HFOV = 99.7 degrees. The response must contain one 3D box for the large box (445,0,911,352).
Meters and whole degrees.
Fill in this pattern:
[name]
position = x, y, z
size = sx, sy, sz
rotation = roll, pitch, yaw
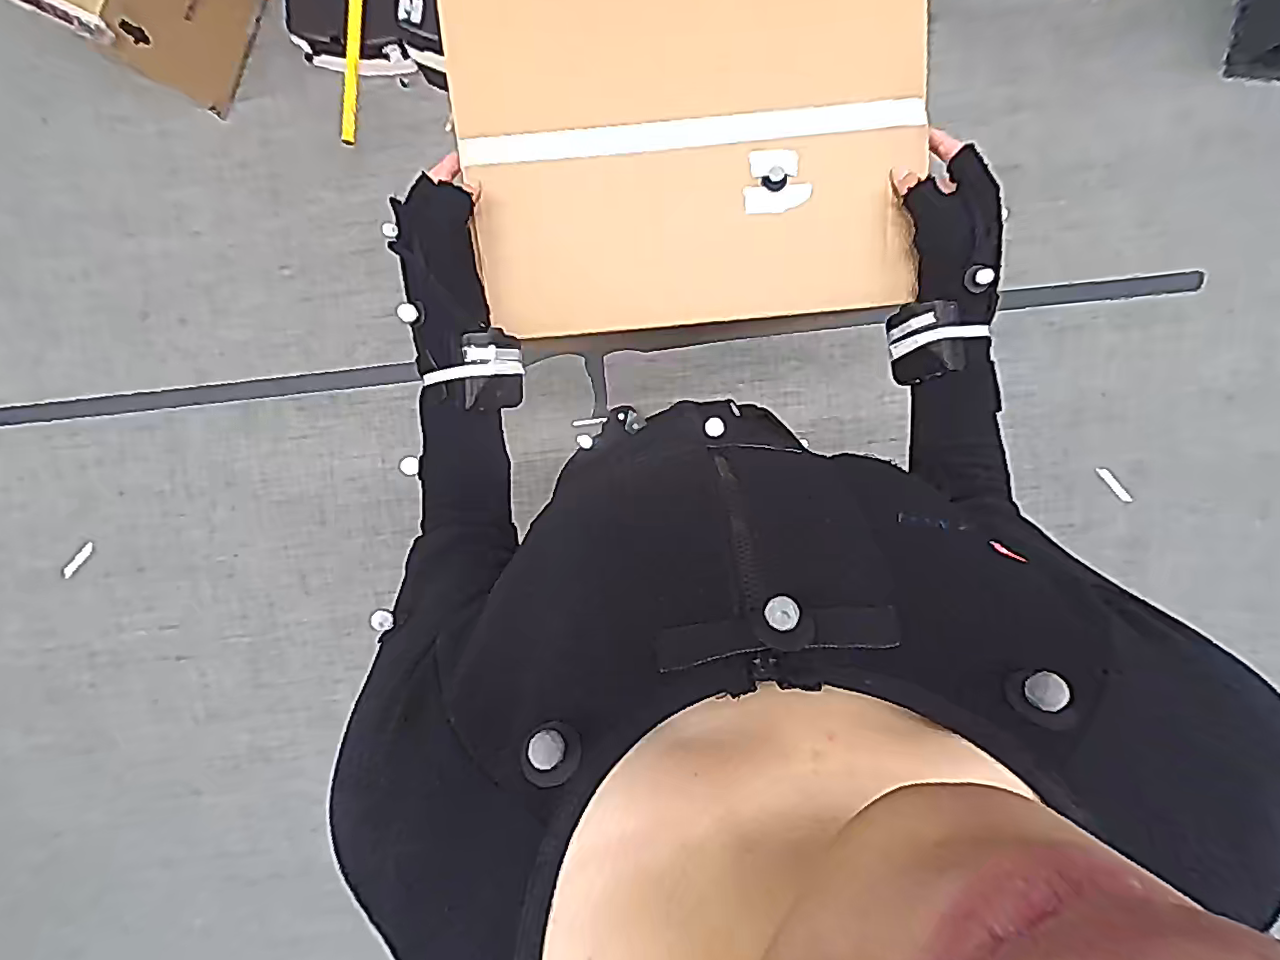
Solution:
[large box]
position = 0.037, -0.332, 0.627
size = 0.408, 0.320, 0.320
rotation = -5, 101, -2
